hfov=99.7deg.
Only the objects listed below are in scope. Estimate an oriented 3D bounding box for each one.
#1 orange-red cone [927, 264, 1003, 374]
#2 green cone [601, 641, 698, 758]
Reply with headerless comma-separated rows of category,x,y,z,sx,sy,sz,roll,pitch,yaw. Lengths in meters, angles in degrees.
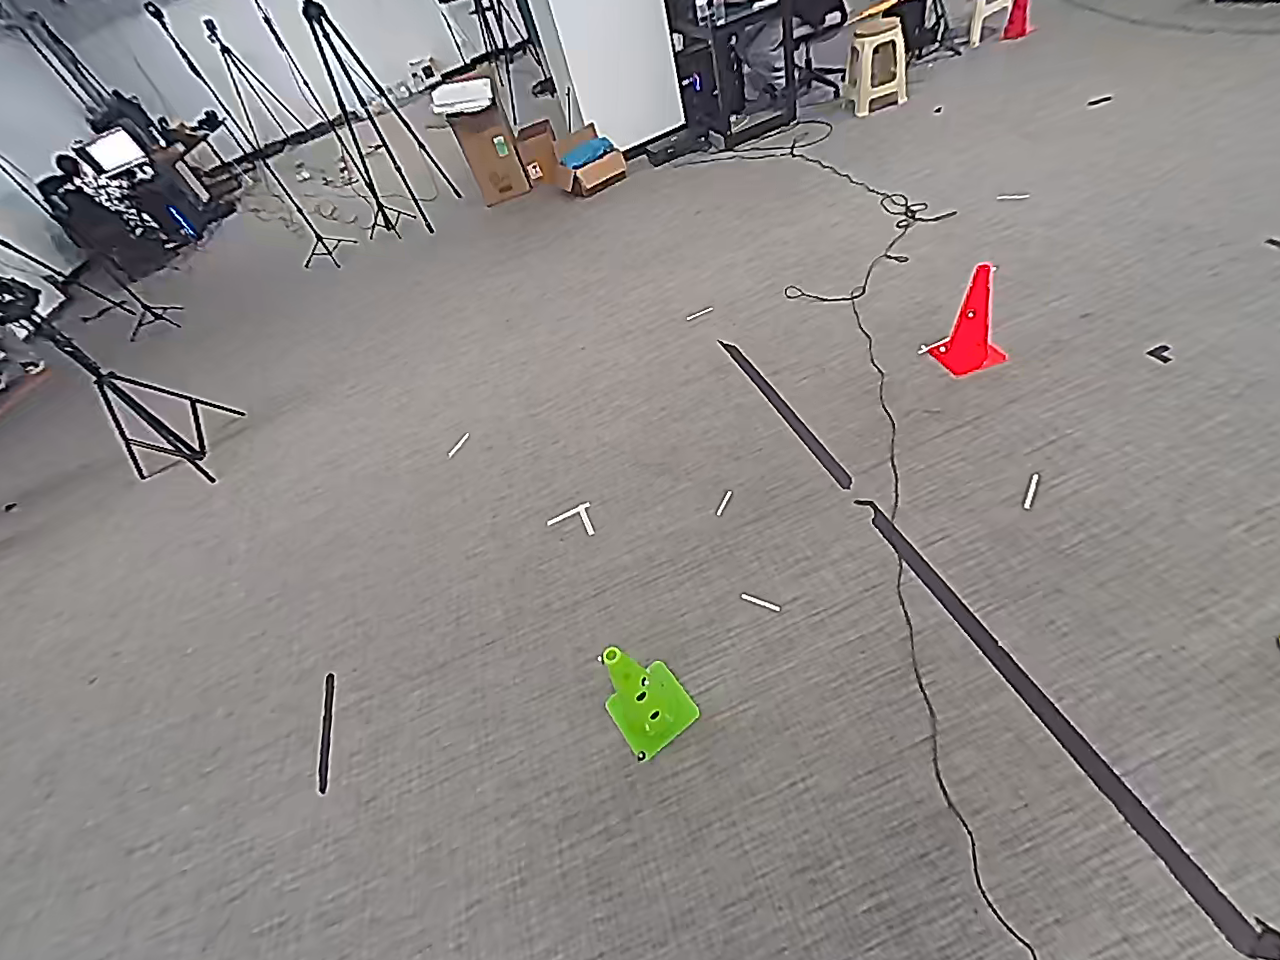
orange-red cone,1.160,-0.582,1.887,0.198,0.360,0.199,-19,47,4
green cone,-0.016,0.499,1.339,0.200,0.368,0.202,-35,46,-13
